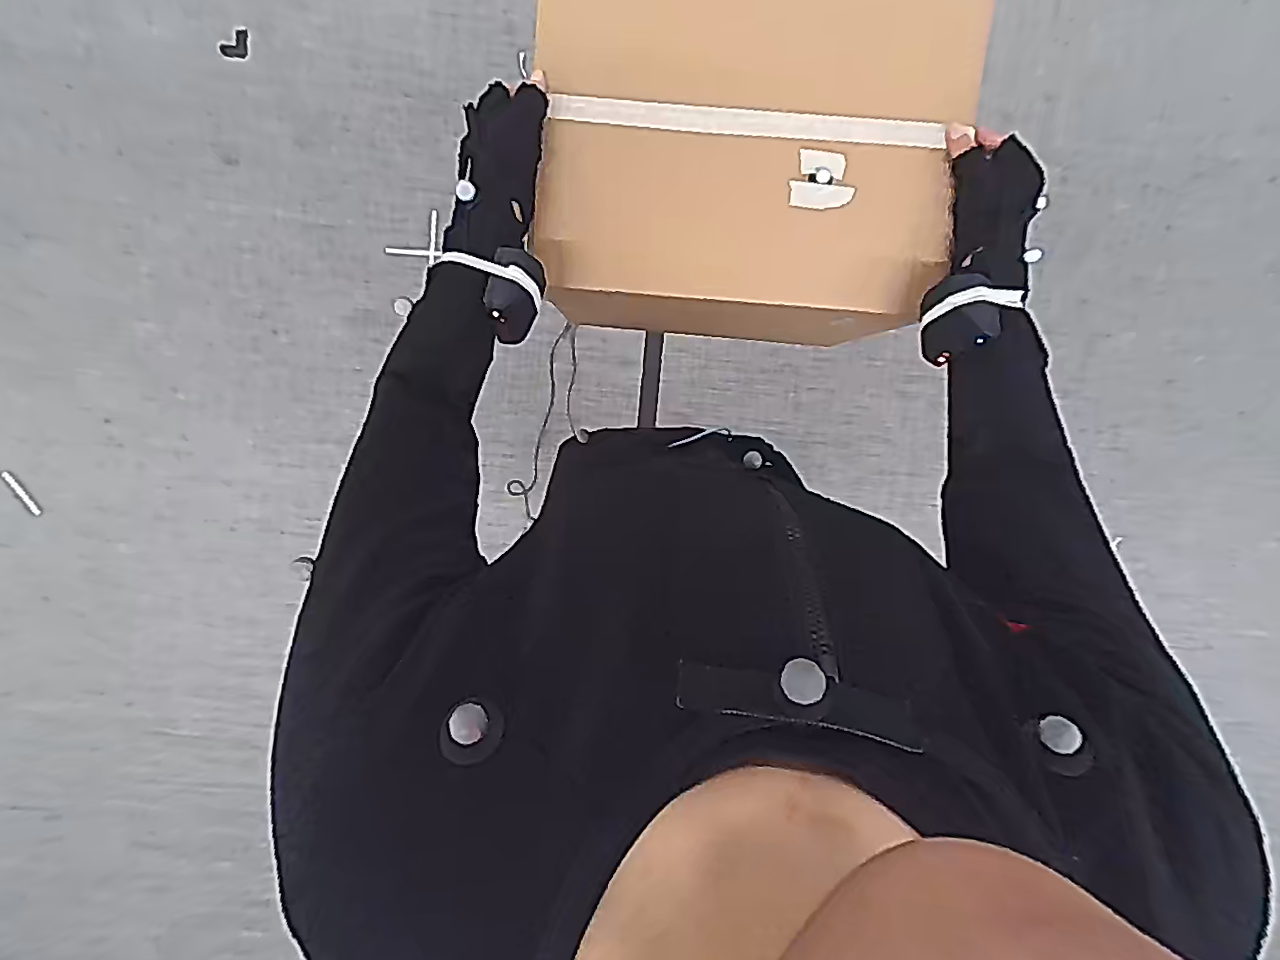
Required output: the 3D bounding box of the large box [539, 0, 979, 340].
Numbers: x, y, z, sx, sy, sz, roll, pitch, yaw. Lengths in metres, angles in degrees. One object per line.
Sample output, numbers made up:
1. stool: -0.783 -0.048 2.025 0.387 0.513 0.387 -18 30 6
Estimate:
1. large box: 0.103 -0.353 0.657 0.408 0.320 0.320 4 100 -1
